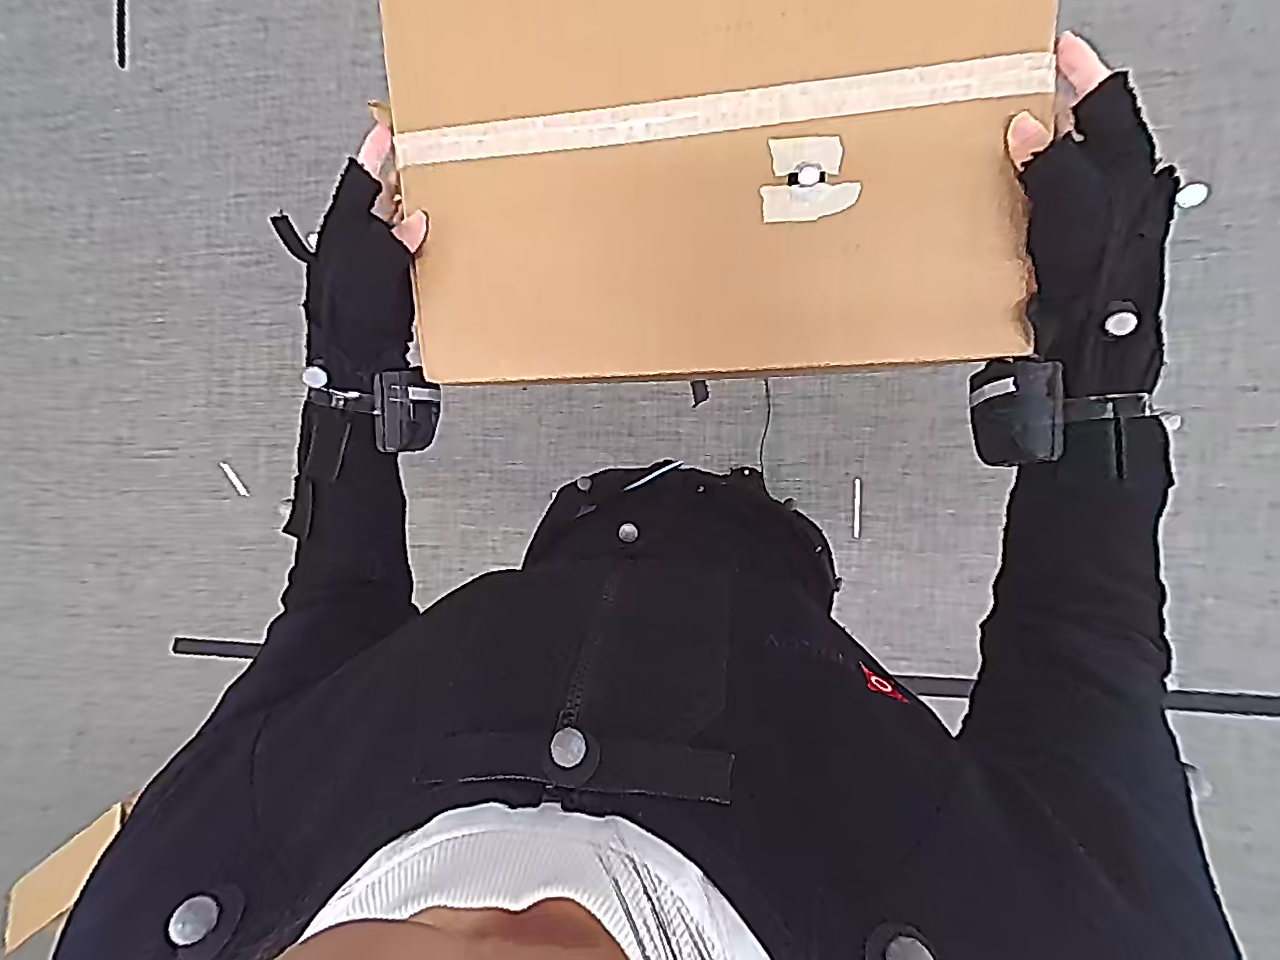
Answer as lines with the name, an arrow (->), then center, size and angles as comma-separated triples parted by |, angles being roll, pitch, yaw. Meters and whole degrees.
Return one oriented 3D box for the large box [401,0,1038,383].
large box -> 0.057, -0.259, 0.498 | 0.408, 0.320, 0.320 | -2, 100, 7
